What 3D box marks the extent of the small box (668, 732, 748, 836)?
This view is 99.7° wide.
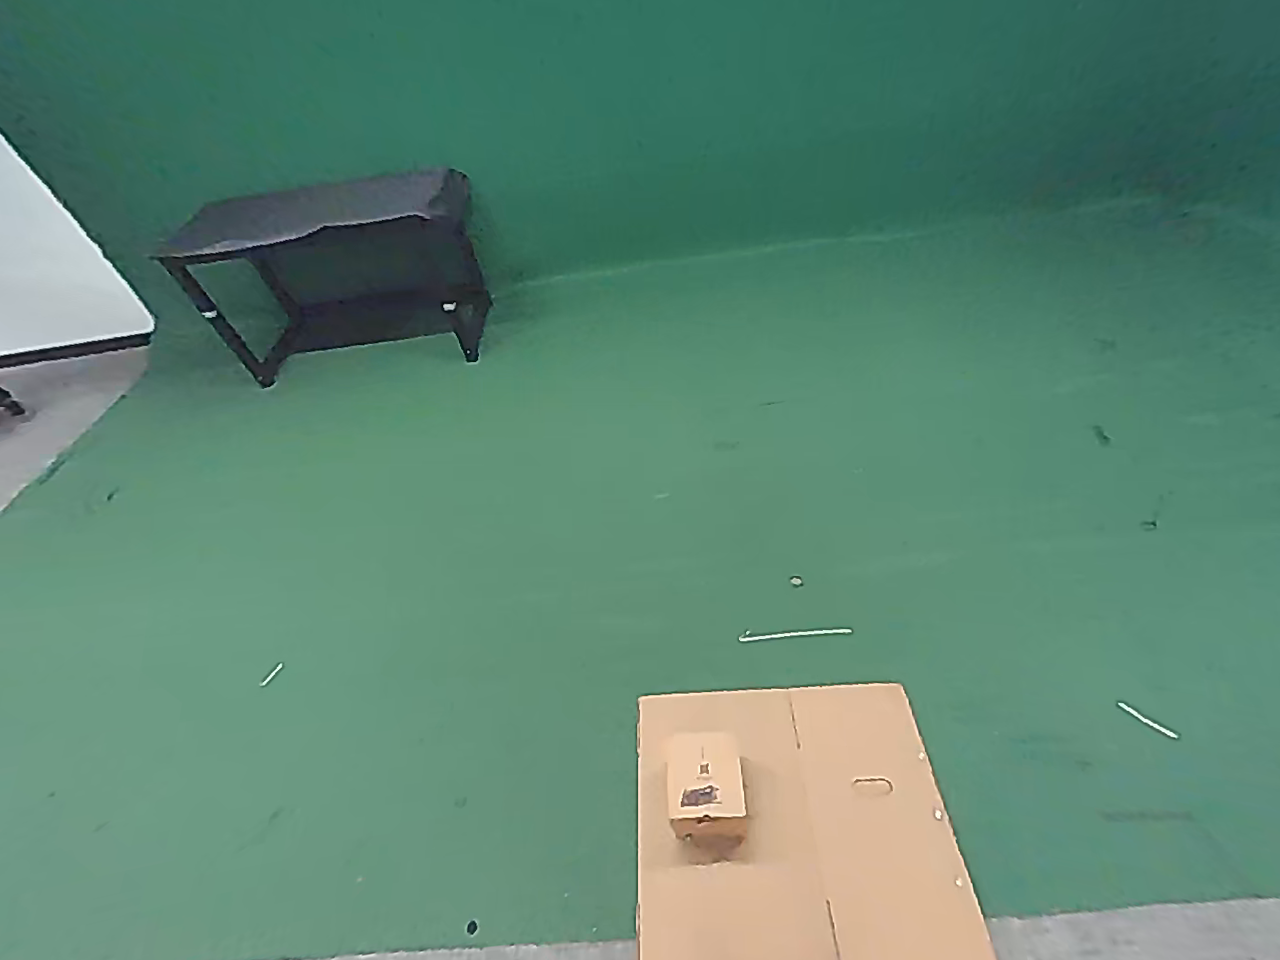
[{"bbox_3d":[0.155,0.697,1.234,0.168,0.176,0.179,-5,45,7],"label":"small box"}]
